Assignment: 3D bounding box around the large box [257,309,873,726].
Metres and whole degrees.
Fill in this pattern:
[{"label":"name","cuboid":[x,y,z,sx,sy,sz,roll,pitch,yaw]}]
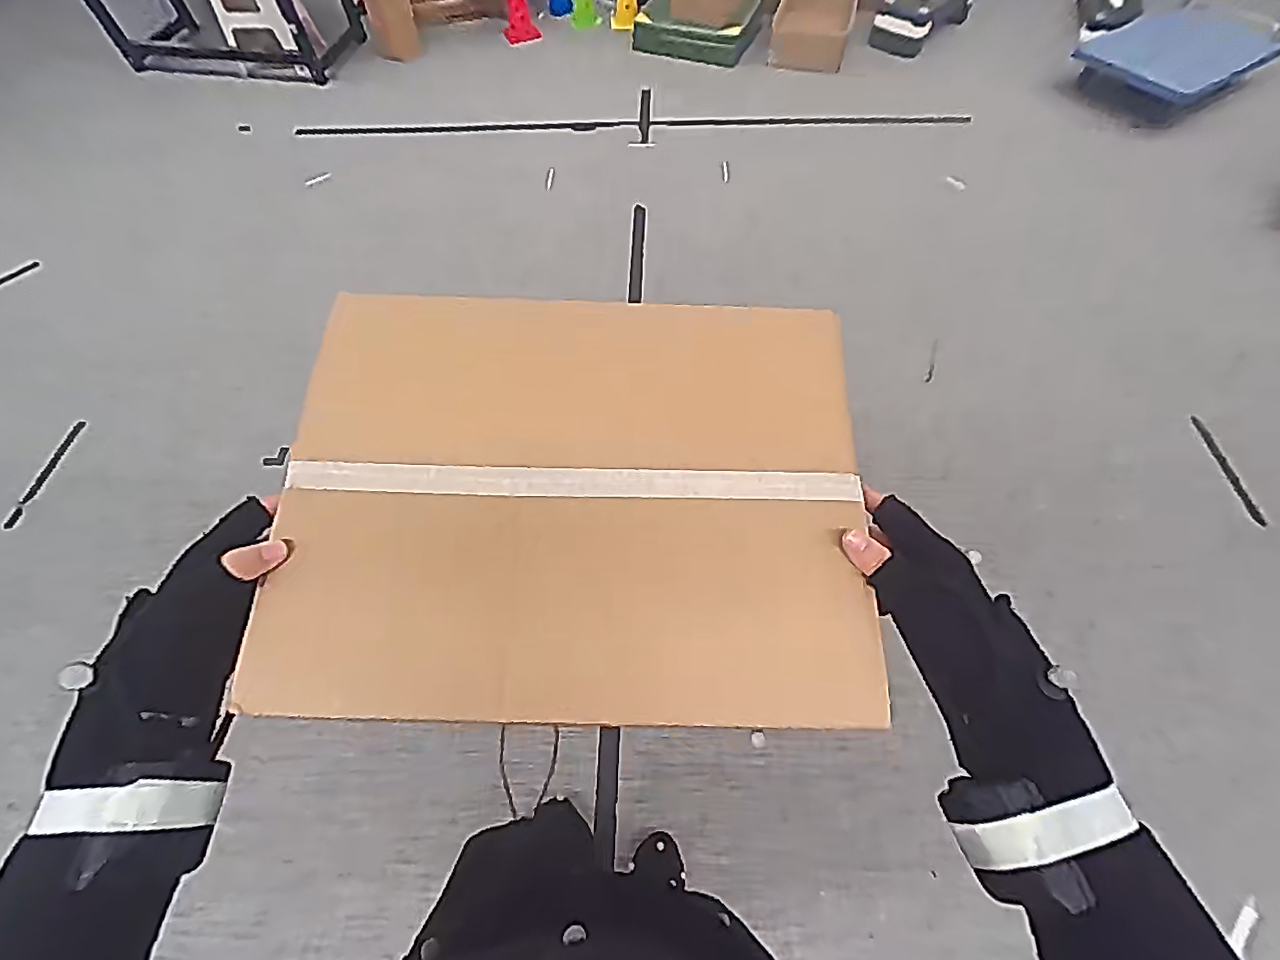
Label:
[{"label":"large box","cuboid":[-0.047,0.057,0.535,0.408,0.320,0.320,2,69,-2]}]
